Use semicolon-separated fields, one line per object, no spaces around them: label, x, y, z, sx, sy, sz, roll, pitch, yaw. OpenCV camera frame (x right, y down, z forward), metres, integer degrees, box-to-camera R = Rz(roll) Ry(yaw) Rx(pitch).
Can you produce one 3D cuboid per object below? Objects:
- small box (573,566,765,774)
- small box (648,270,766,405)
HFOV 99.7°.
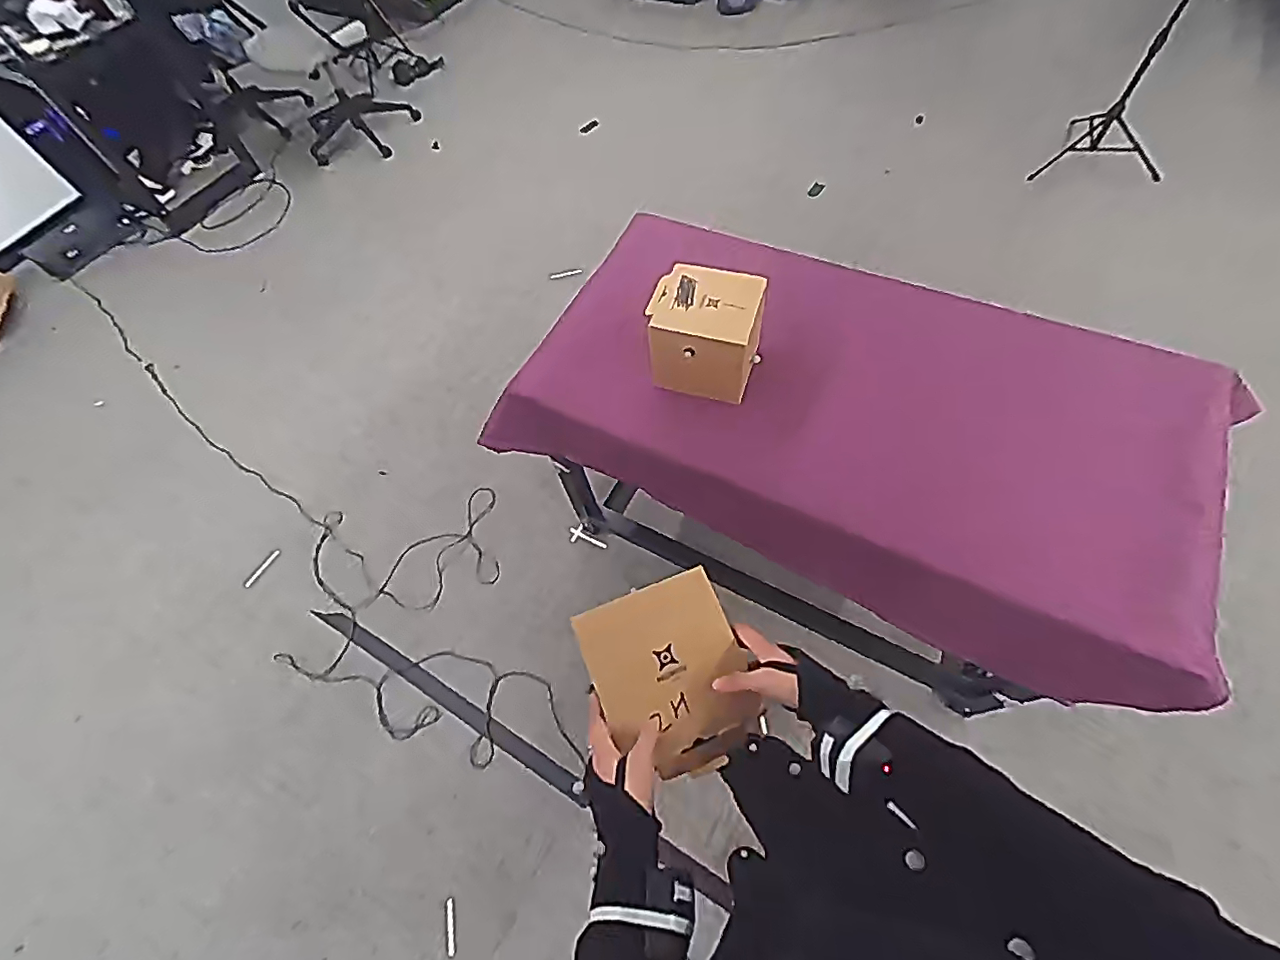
small box;0.023;0.229;0.667;0.168;0.176;0.179;-20;73;-11
small box;0.127;-0.263;1.019;0.179;0.176;0.168;14;63;13
